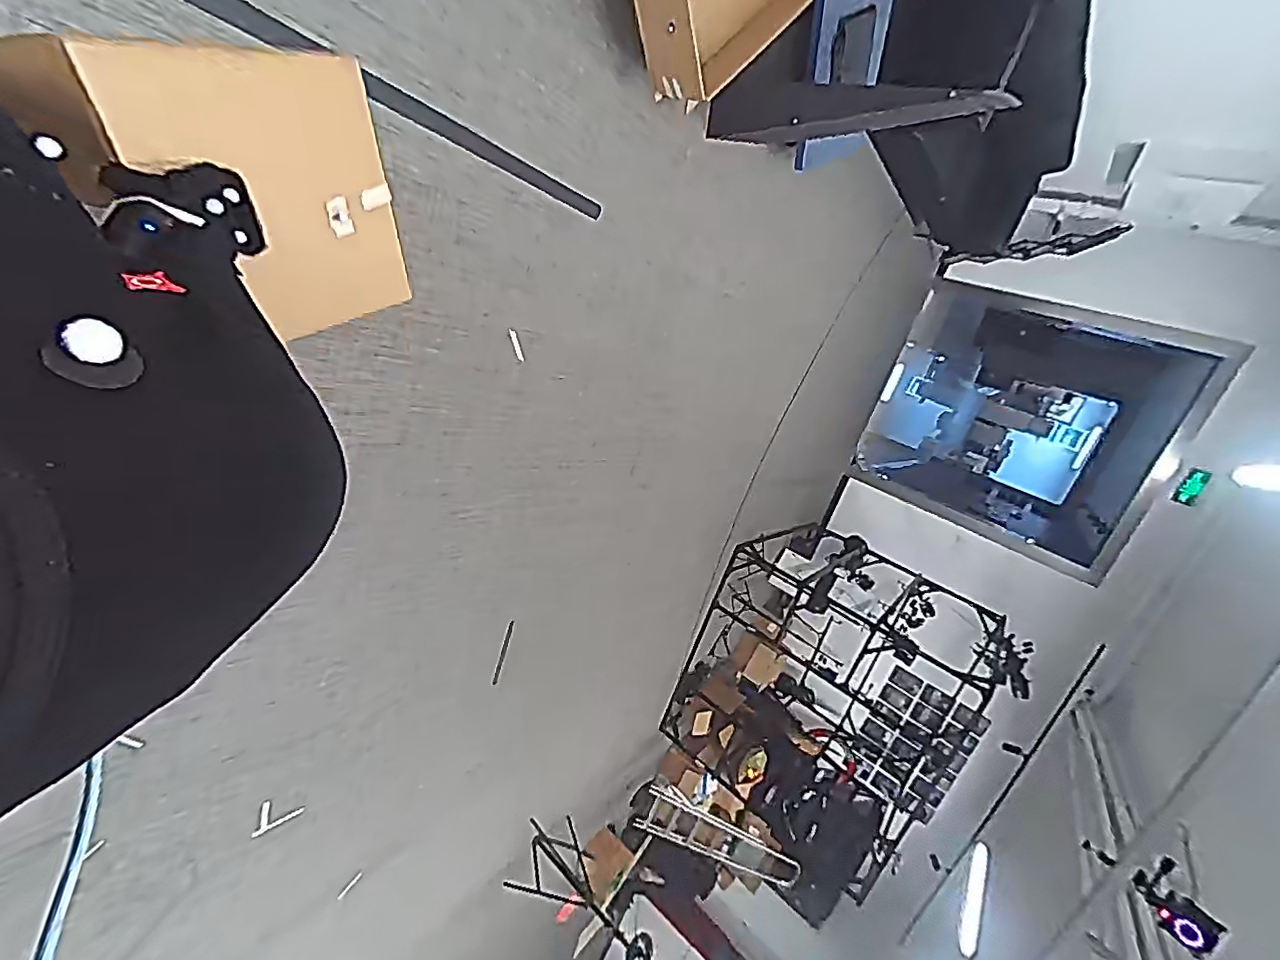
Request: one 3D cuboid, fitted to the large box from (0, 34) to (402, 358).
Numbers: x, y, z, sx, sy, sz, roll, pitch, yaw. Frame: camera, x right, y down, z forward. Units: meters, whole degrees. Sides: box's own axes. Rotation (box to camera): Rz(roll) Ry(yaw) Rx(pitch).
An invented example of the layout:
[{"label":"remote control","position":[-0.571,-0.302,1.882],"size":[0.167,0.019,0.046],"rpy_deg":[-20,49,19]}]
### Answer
[{"label":"large box","position":[-0.620,-0.400,0.749],"size":[0.320,0.408,0.320],"rpy_deg":[-47,146,-45]}]
